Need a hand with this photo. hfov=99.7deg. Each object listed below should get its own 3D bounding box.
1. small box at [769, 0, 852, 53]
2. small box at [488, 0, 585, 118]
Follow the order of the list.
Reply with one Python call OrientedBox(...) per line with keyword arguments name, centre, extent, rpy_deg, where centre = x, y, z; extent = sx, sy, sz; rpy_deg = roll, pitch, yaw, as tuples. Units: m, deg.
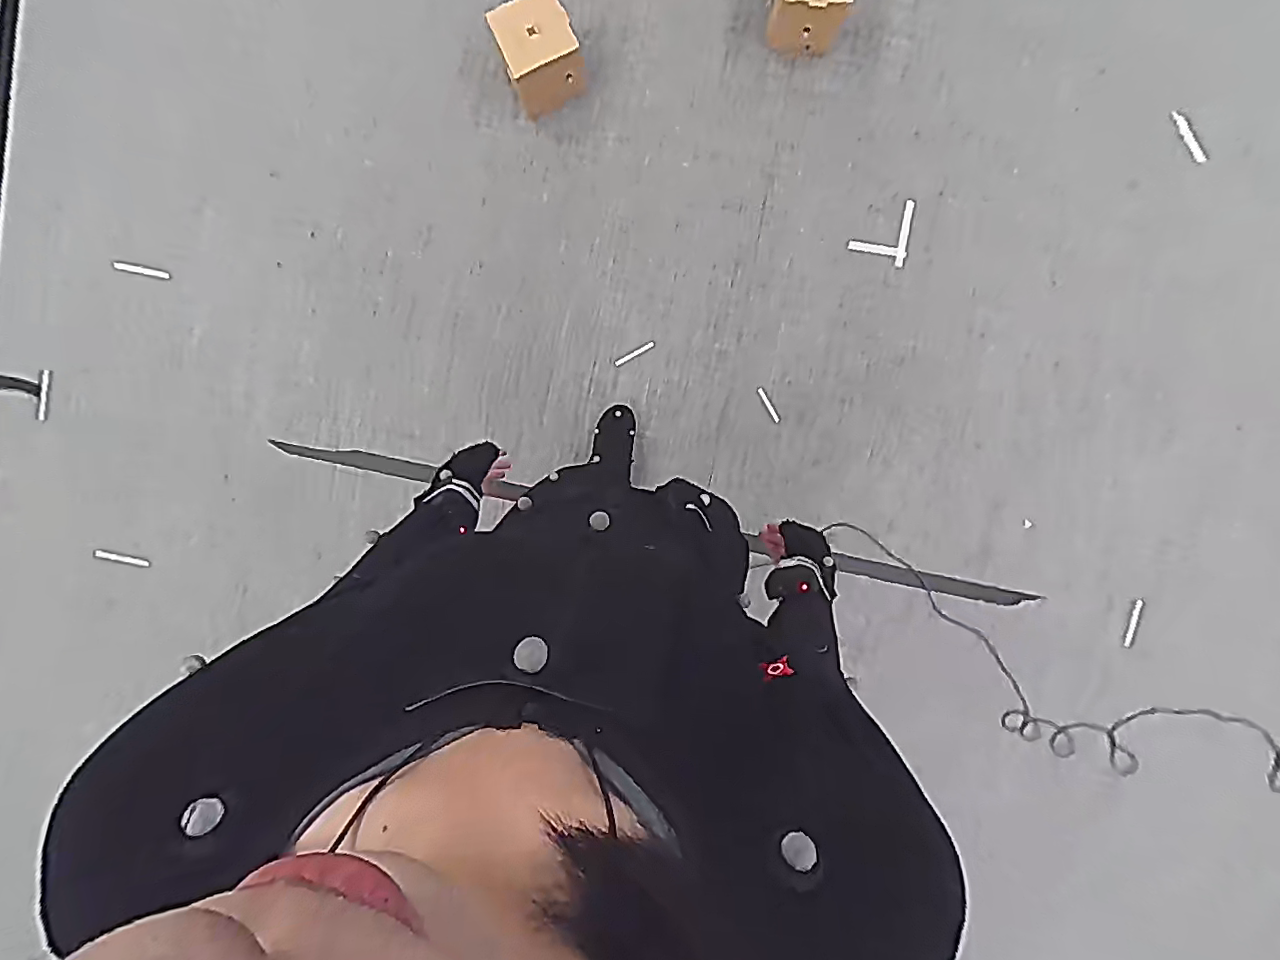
OrientedBox(name="small box", centre=(0.423, -1.204, 1.336), extent=(0.168, 0.176, 0.179), rpy_deg=(4, 95, -1))
OrientedBox(name="small box", centre=(-0.248, -1.059, 1.349), extent=(0.179, 0.176, 0.168), rpy_deg=(-25, 93, 3))
